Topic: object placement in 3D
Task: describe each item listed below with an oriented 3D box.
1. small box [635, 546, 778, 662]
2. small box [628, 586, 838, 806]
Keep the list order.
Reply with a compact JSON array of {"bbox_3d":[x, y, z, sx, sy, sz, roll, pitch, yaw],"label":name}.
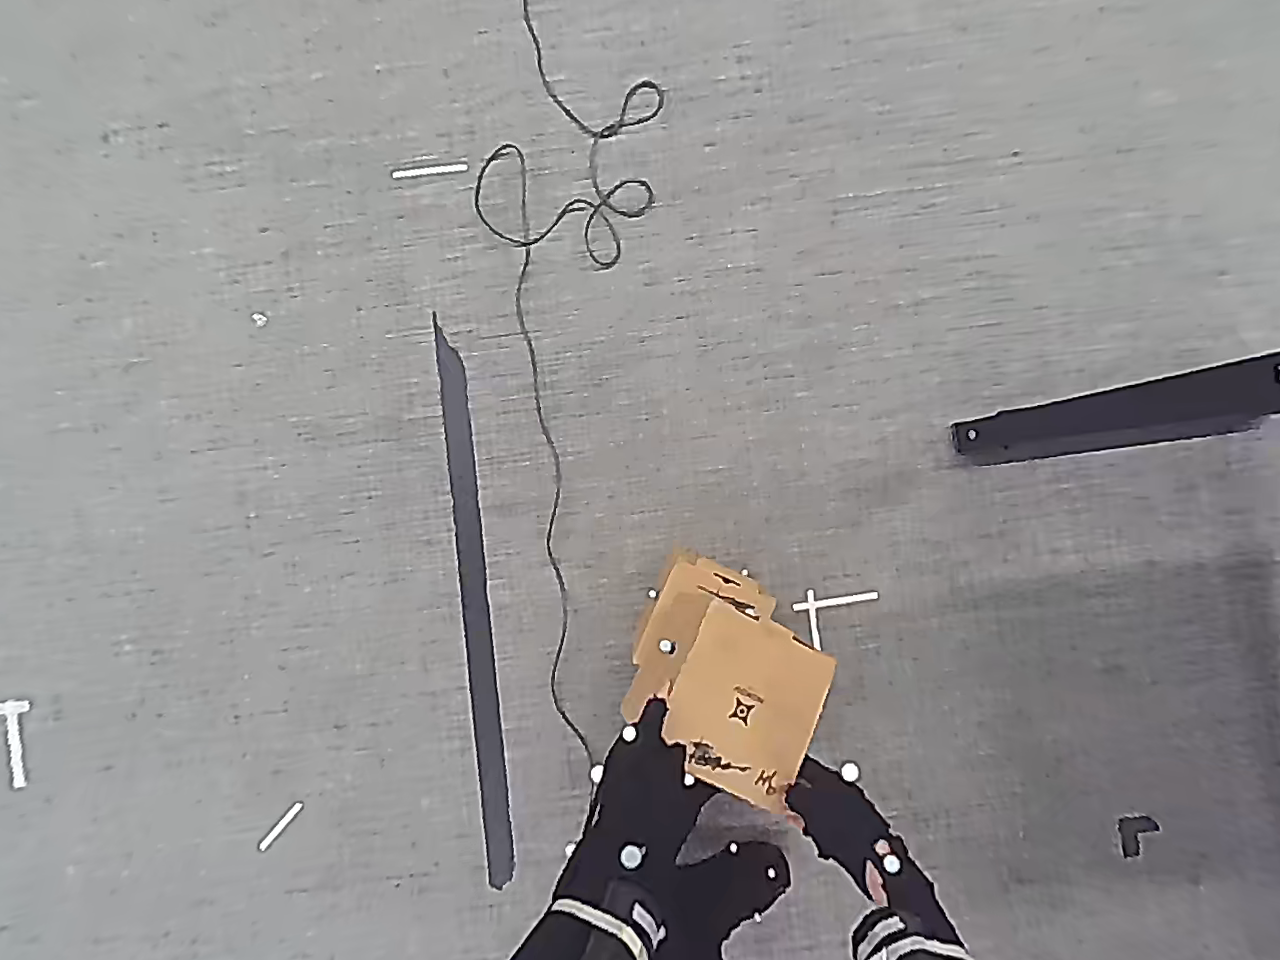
[{"bbox_3d":[0.099,0.221,0.883,0.168,0.176,0.179,24,89,2],"label":"small box"},{"bbox_3d":[0.099,0.241,0.652,0.168,0.176,0.179,28,76,-4],"label":"small box"}]
